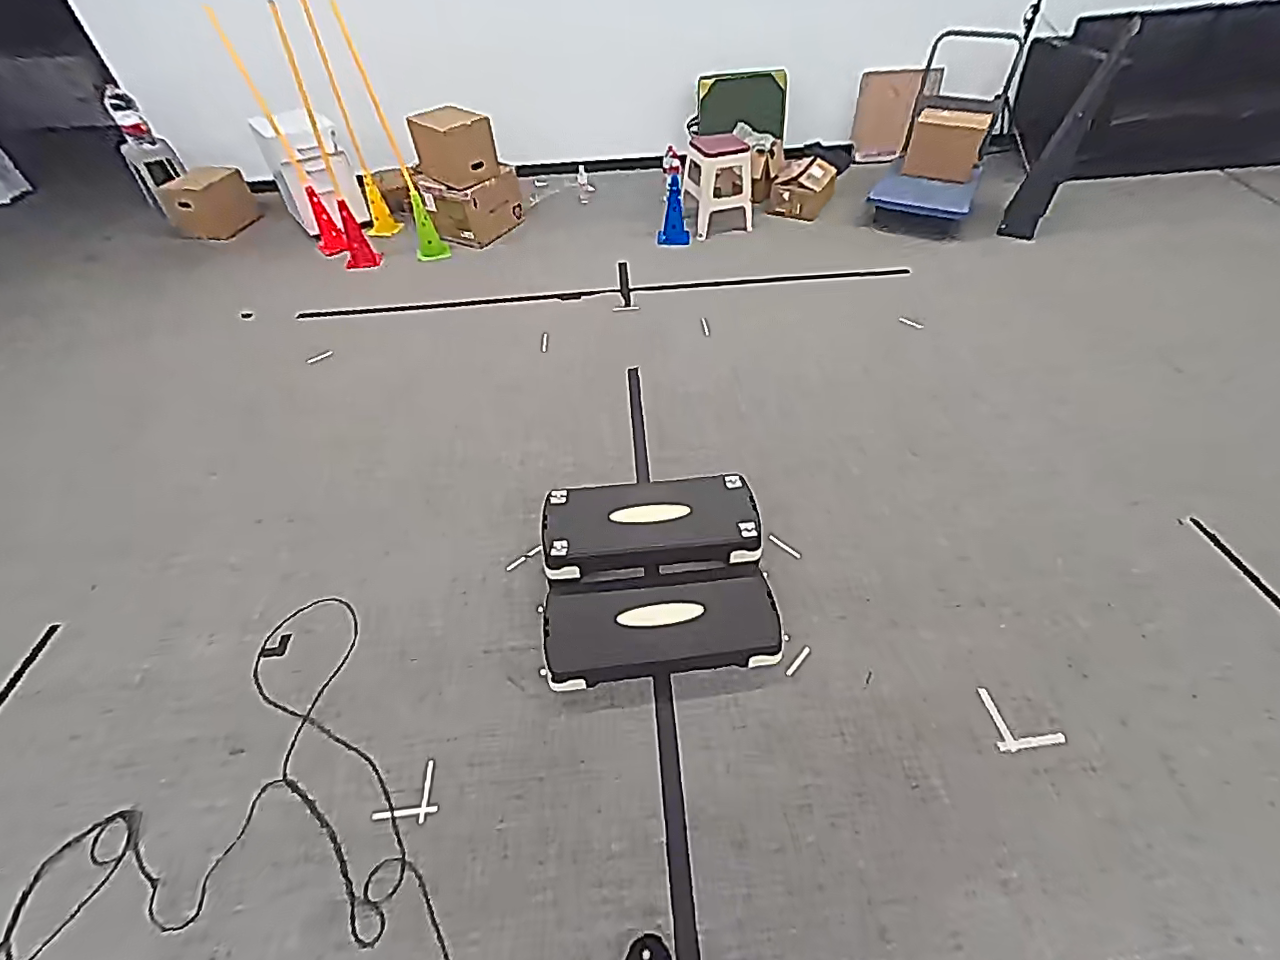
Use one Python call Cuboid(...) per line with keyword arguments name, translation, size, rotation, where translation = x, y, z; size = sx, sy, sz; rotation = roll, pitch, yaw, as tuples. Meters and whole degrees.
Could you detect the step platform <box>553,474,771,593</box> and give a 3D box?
Cuboid(name="step platform", translation=(0.066, 0.163, 1.734), size=(0.684, 0.204, 0.286), rotation=(-5, 47, -4))
